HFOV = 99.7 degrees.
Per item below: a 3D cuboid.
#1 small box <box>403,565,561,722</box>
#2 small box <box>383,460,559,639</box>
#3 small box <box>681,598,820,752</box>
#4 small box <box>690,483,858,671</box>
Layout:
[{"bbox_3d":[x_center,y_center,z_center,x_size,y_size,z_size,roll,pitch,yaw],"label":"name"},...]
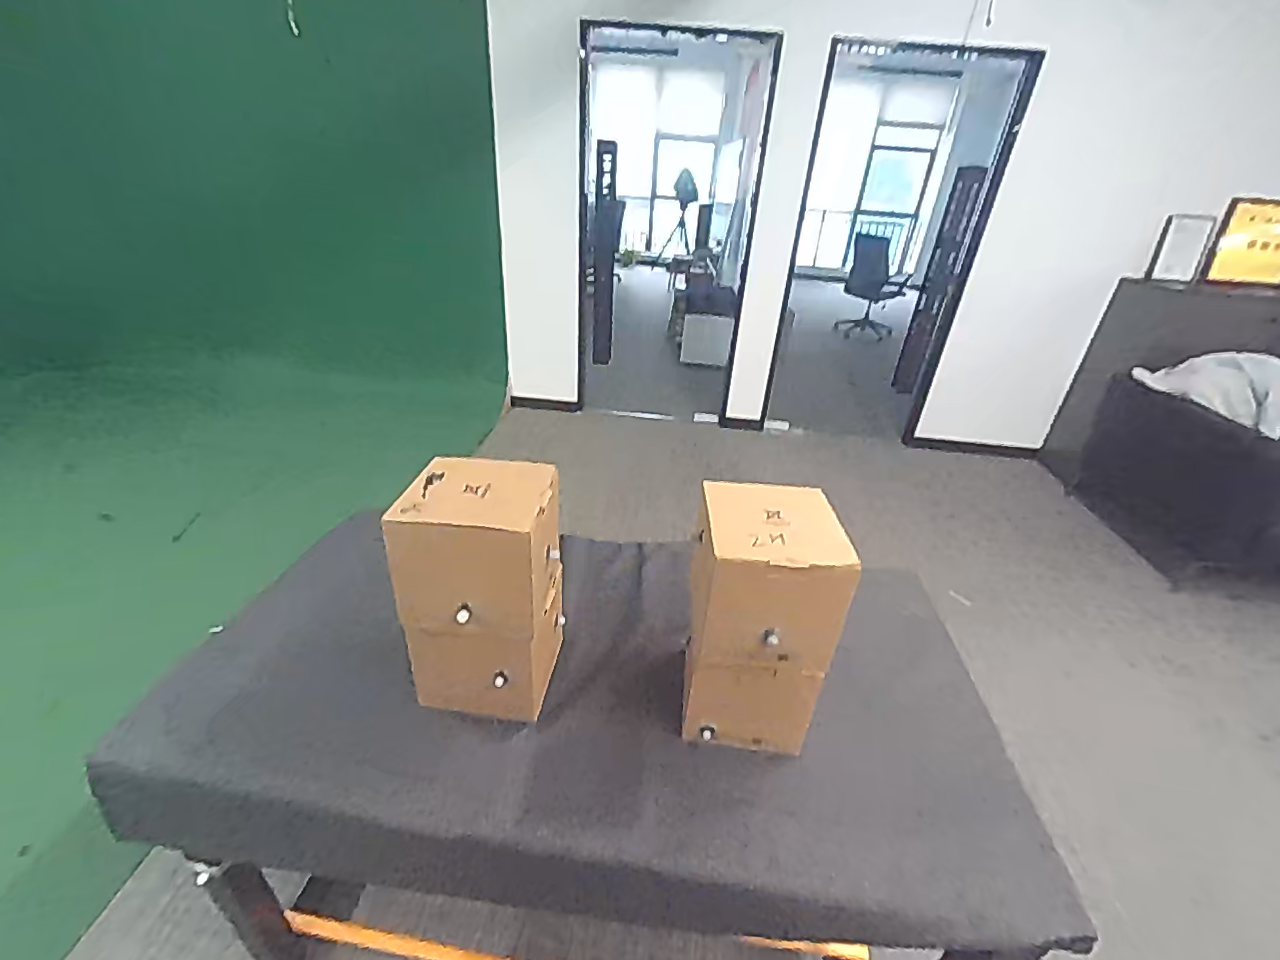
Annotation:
[{"bbox_3d":[-0.221,0.232,0.804,0.179,0.176,0.168,6,27,4],"label":"small box"},{"bbox_3d":[-0.210,0.090,0.722,0.179,0.176,0.168,6,27,1],"label":"small box"},{"bbox_3d":[0.151,0.266,0.794,0.168,0.176,0.179,7,28,3],"label":"small box"},{"bbox_3d":[0.159,0.123,0.714,0.168,0.176,0.179,3,29,-1],"label":"small box"}]
